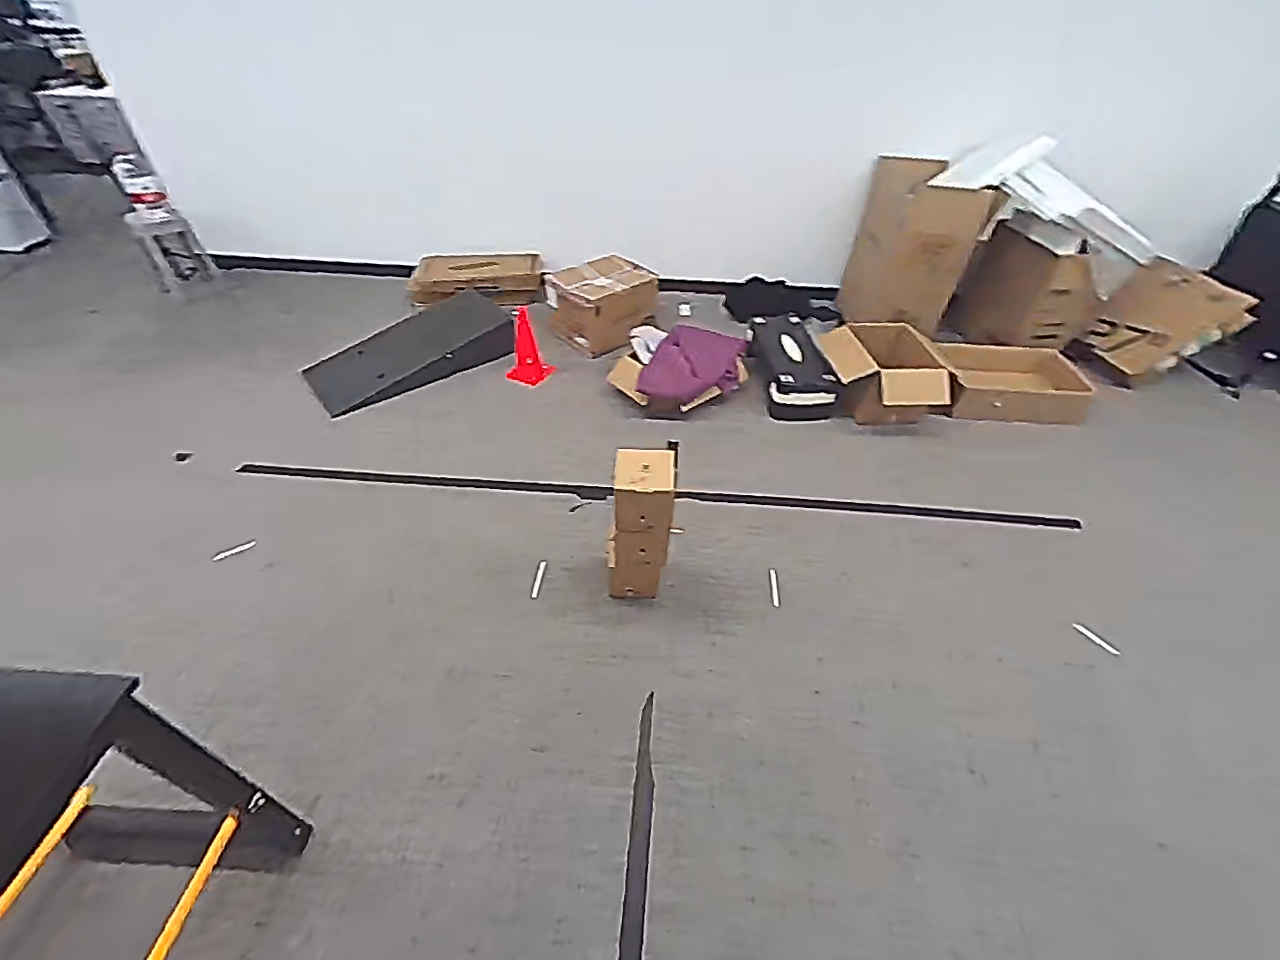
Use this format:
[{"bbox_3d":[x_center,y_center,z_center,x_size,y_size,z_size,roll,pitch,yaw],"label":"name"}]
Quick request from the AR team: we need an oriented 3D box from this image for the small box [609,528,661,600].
[{"bbox_3d":[-0.021,0.279,1.800,0.168,0.176,0.179,-1,44,-2],"label":"small box"}]

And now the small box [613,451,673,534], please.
[{"bbox_3d":[0.011,0.036,1.578,0.168,0.176,0.179,1,43,2],"label":"small box"}]

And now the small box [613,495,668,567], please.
[{"bbox_3d":[0.000,0.160,1.687,0.168,0.176,0.179,-2,43,-3],"label":"small box"}]
